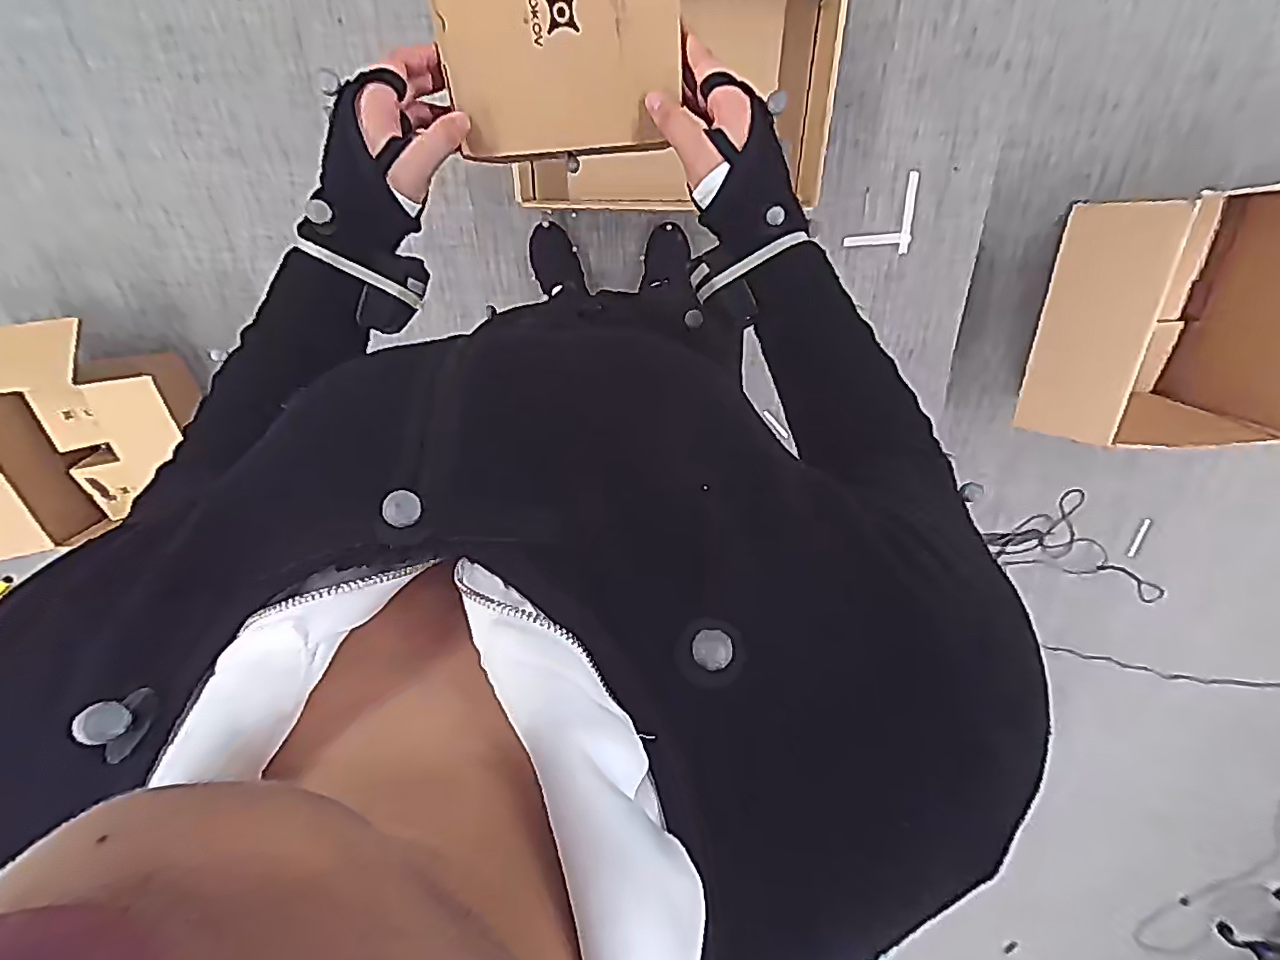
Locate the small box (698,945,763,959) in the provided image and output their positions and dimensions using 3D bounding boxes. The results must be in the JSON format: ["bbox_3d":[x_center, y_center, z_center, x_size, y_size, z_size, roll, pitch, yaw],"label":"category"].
[{"bbox_3d":[0.239,1.309,1.362,0.168,0.176,0.179,-7,117,4],"label":"small box"}]

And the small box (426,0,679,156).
[{"bbox_3d":[-0.064,-0.370,0.445,0.179,0.176,0.168,-5,120,1],"label":"small box"}]
